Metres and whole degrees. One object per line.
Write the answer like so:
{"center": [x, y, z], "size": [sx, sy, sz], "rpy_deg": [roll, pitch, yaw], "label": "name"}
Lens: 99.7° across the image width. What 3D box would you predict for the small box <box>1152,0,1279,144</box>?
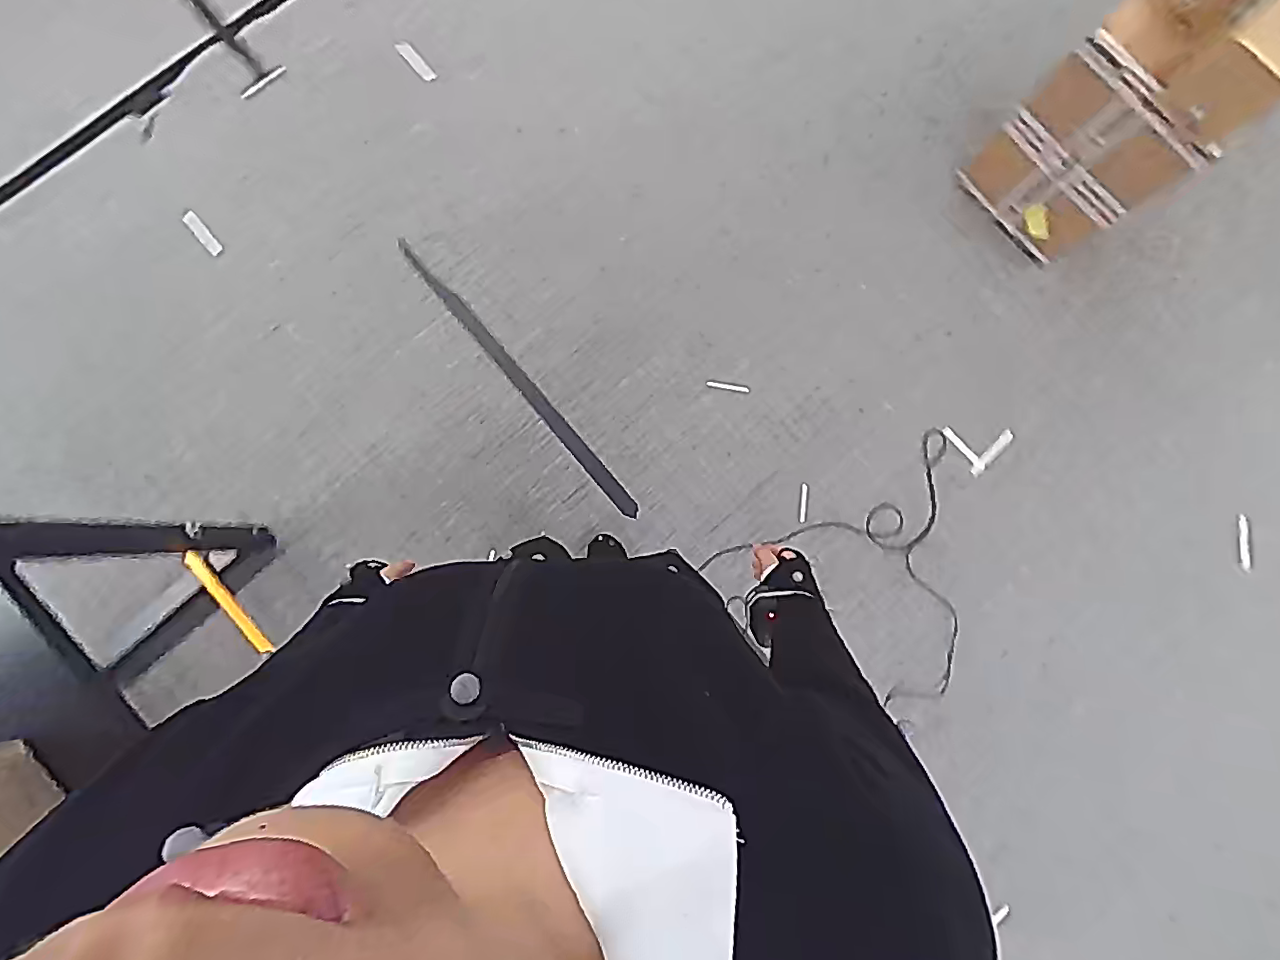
{"center": [1.223, -0.844, 1.101], "size": [0.179, 0.176, 0.168], "rpy_deg": [-44, 88, -3], "label": "small box"}
